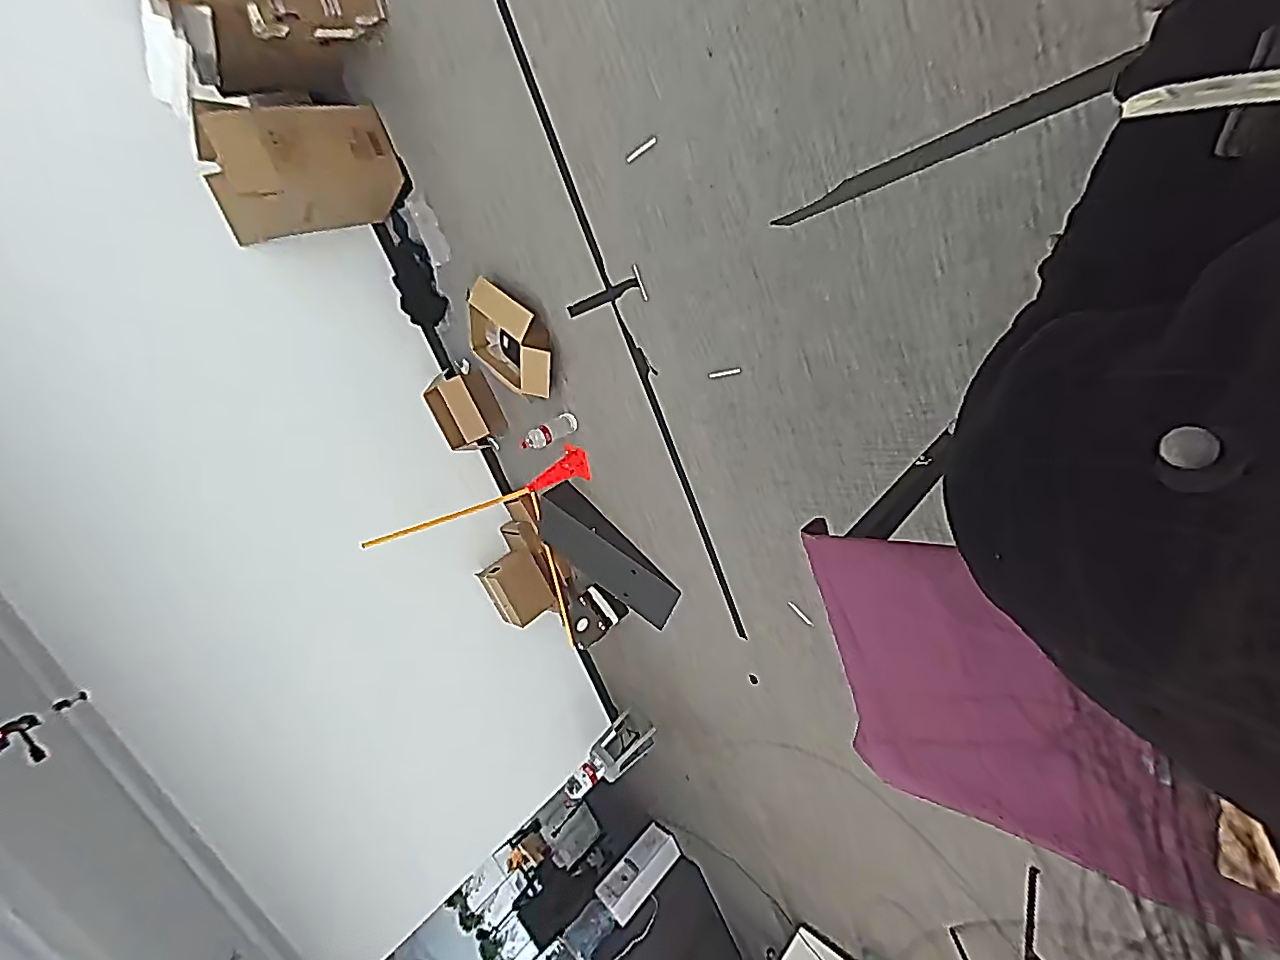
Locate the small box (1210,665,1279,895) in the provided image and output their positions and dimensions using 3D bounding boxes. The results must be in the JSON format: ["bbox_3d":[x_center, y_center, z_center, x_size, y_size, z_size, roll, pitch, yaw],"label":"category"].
[{"bbox_3d":[0.741,0.338,0.580,0.168,0.176,0.179,3,119,49],"label":"small box"}]
